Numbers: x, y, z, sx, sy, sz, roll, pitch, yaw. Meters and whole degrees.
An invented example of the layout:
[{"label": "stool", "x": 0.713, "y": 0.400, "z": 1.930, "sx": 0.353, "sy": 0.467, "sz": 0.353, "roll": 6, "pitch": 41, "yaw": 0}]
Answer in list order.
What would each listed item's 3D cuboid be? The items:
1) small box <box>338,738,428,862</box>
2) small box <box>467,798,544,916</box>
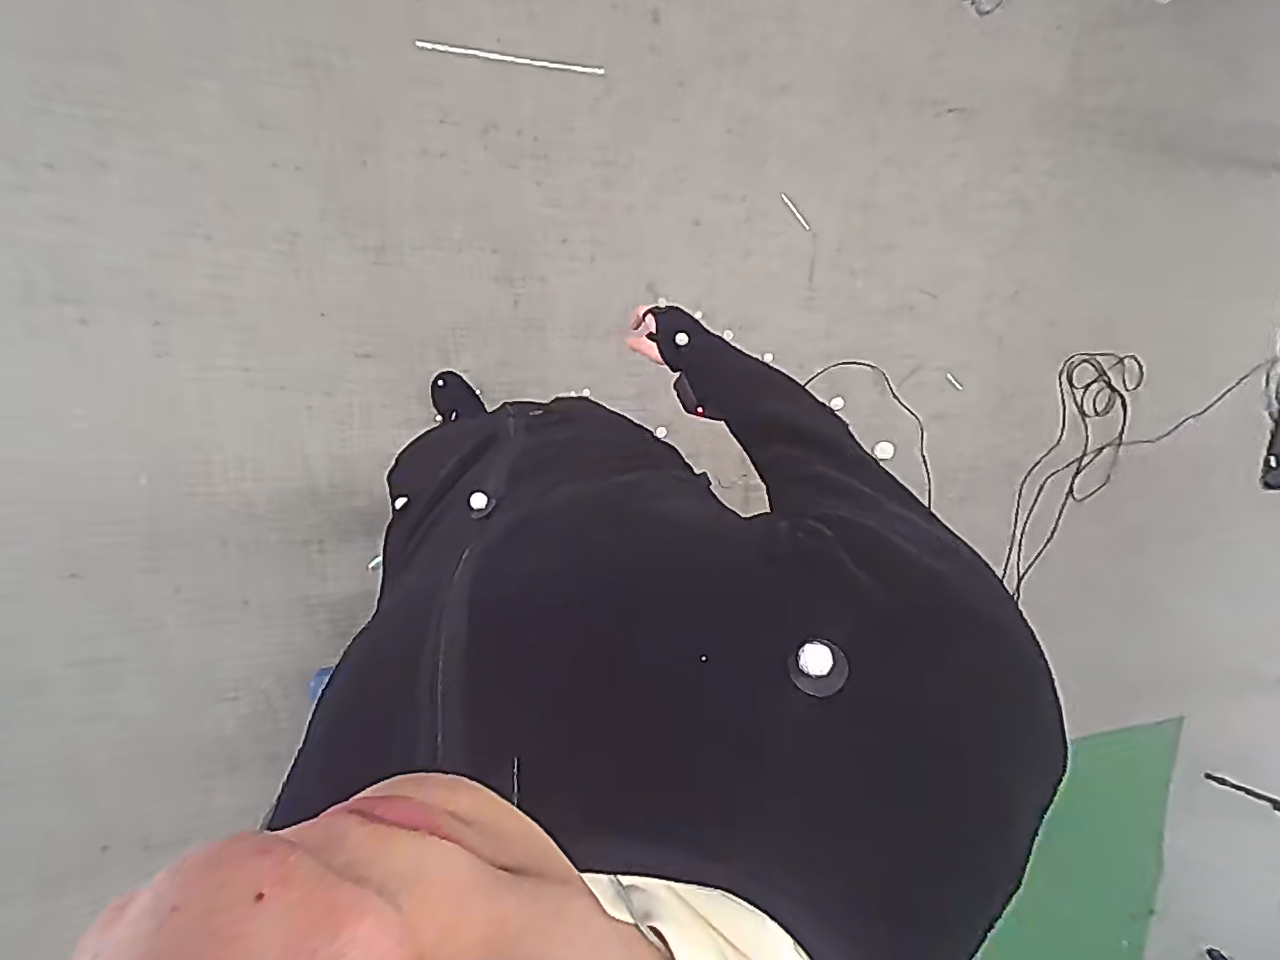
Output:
[{"label": "small box", "x": -0.617, "y": 0.770, "z": 1.316, "sx": 0.168, "sy": 0.176, "sz": 0.179, "roll": -6, "pitch": 99, "yaw": -18}, {"label": "small box", "x": -0.360, "y": 0.980, "z": 1.429, "sx": 0.168, "sy": 0.176, "sz": 0.179, "roll": -12, "pitch": 101, "yaw": -16}]
